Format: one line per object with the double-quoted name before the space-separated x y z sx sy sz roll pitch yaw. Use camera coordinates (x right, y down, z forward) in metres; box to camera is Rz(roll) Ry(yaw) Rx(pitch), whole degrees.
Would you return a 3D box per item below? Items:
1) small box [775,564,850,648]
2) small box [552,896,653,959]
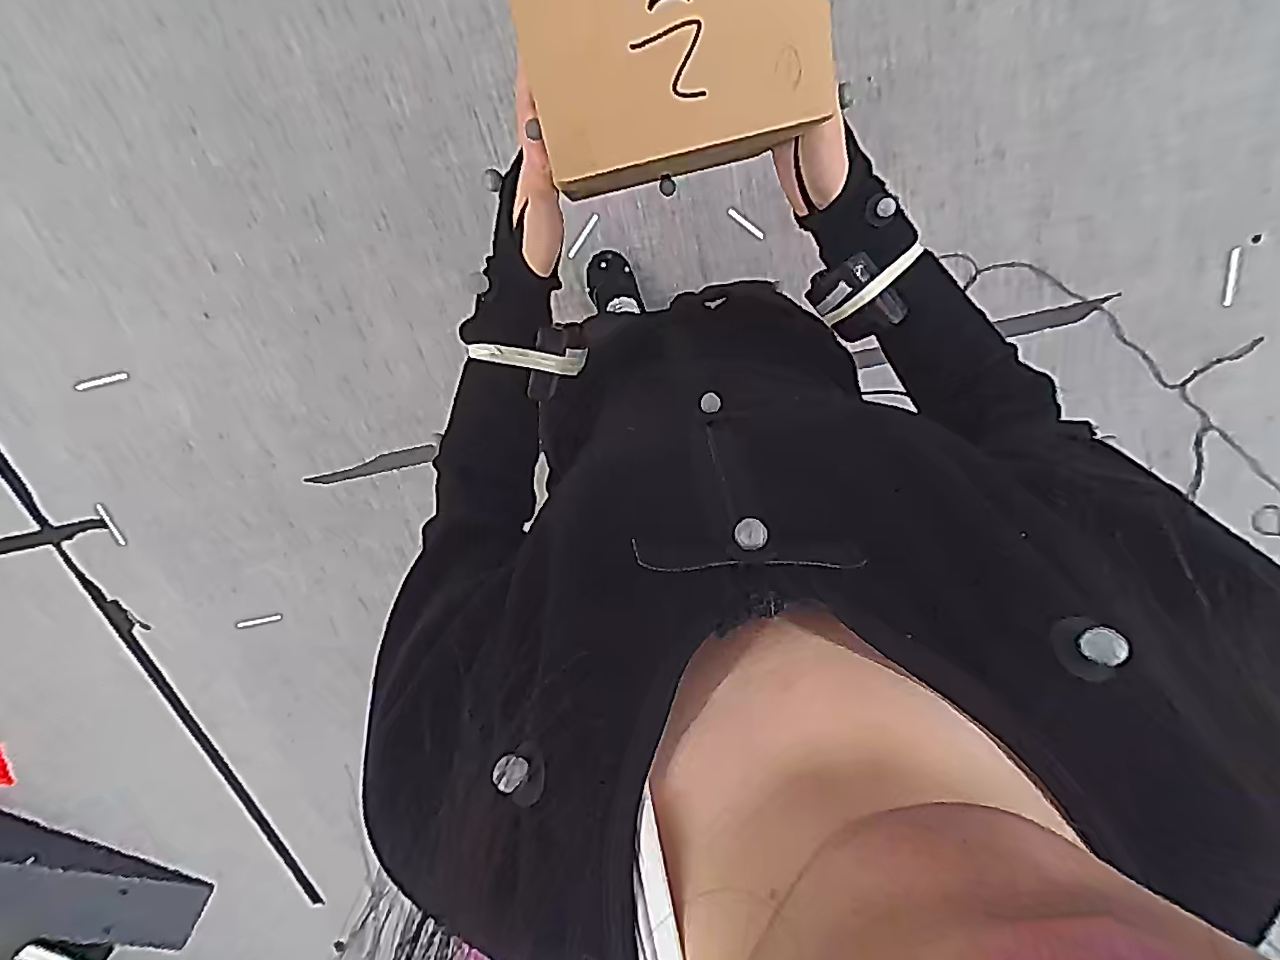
"small box" 0.507 0.364 1.604 0.168 0.176 0.179 -12 112 5
"small box" -0.070 0.957 1.053 0.179 0.176 0.168 -11 112 4
